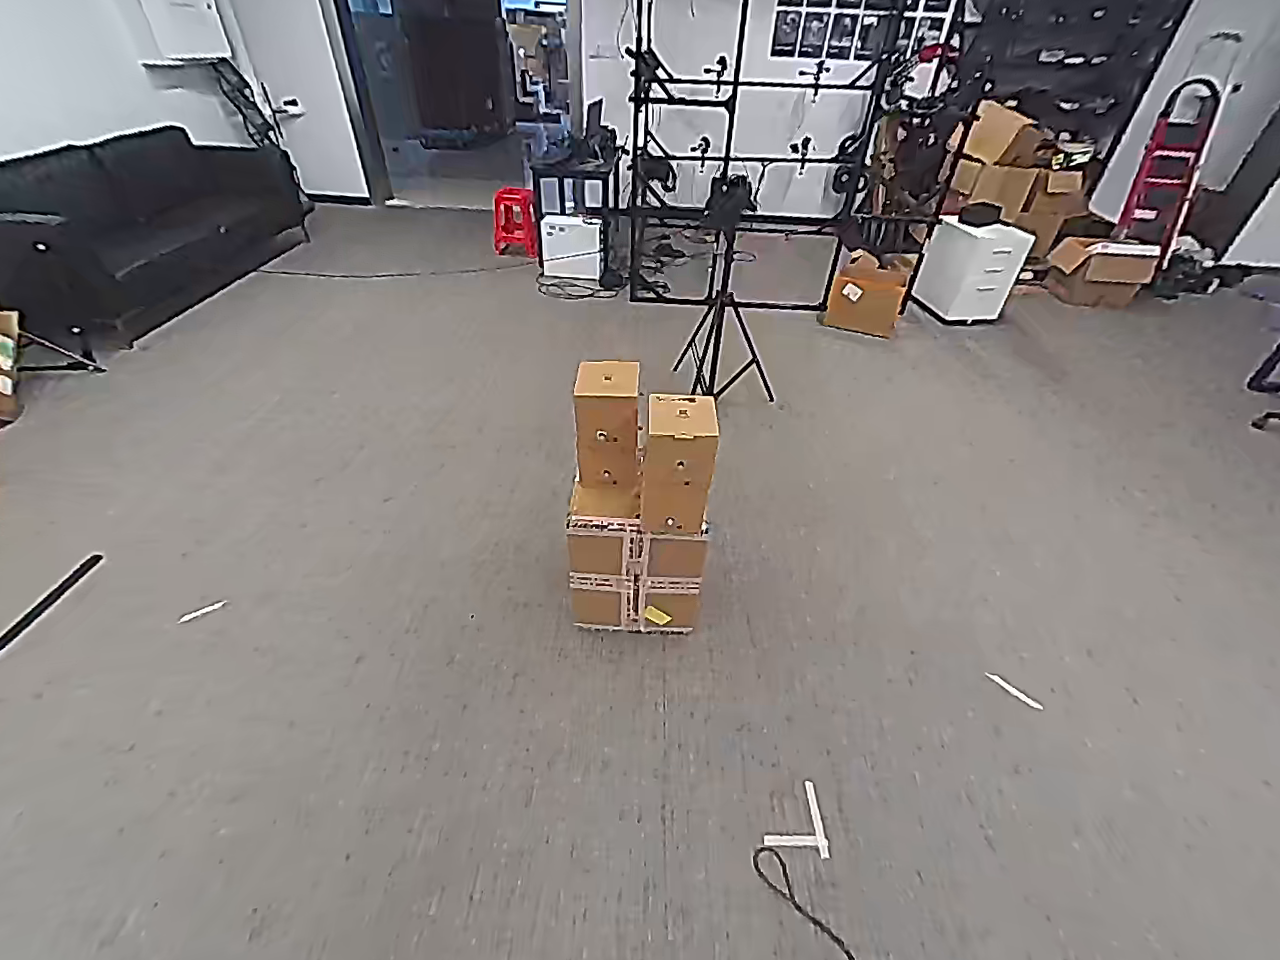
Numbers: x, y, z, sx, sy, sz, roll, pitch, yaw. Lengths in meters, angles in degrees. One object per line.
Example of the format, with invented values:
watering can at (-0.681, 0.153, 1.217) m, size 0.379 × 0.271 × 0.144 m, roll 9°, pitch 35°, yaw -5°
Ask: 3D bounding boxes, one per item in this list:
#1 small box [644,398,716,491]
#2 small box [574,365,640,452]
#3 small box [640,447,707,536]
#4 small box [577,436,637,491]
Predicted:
small box at (0.098, -0.088, 1.362) m, size 0.168 × 0.176 × 0.179 m, roll 3°, pitch 42°, yaw 0°
small box at (-0.085, -0.197, 1.481) m, size 0.168 × 0.176 × 0.179 m, roll 1°, pitch 42°, yaw 1°
small box at (0.085, 0.032, 1.474) m, size 0.168 × 0.176 × 0.179 m, roll 2°, pitch 42°, yaw -1°
small box at (-0.093, -0.089, 1.604) m, size 0.168 × 0.176 × 0.179 m, roll 1°, pitch 42°, yaw 1°
